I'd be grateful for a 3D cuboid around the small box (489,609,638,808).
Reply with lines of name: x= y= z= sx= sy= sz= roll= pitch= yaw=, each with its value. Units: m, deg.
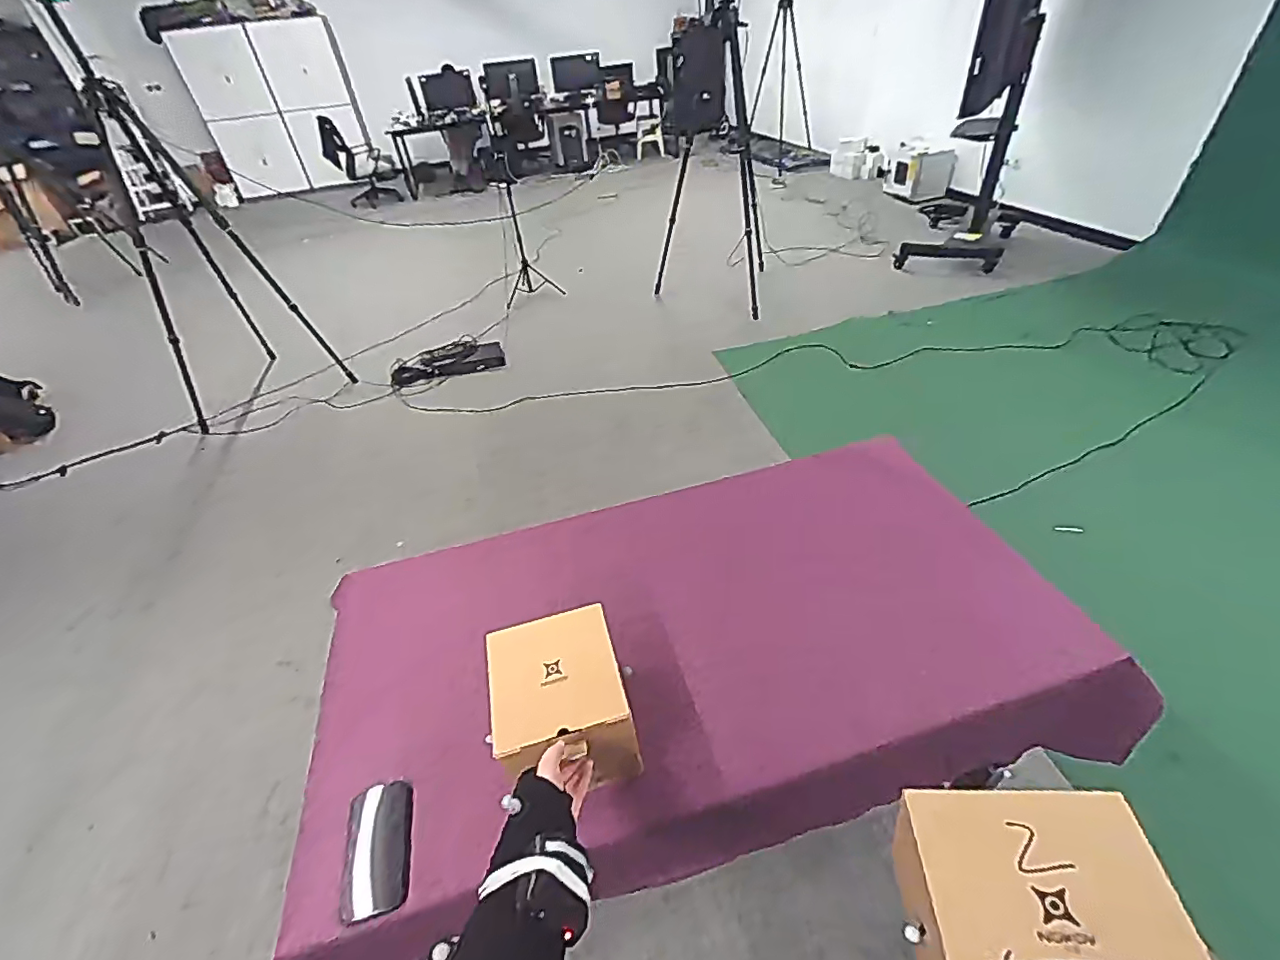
small box: x=-0.105 y=0.316 z=0.754 sx=0.168 sy=0.176 sz=0.179 roll=-14 pitch=41 yaw=-8
